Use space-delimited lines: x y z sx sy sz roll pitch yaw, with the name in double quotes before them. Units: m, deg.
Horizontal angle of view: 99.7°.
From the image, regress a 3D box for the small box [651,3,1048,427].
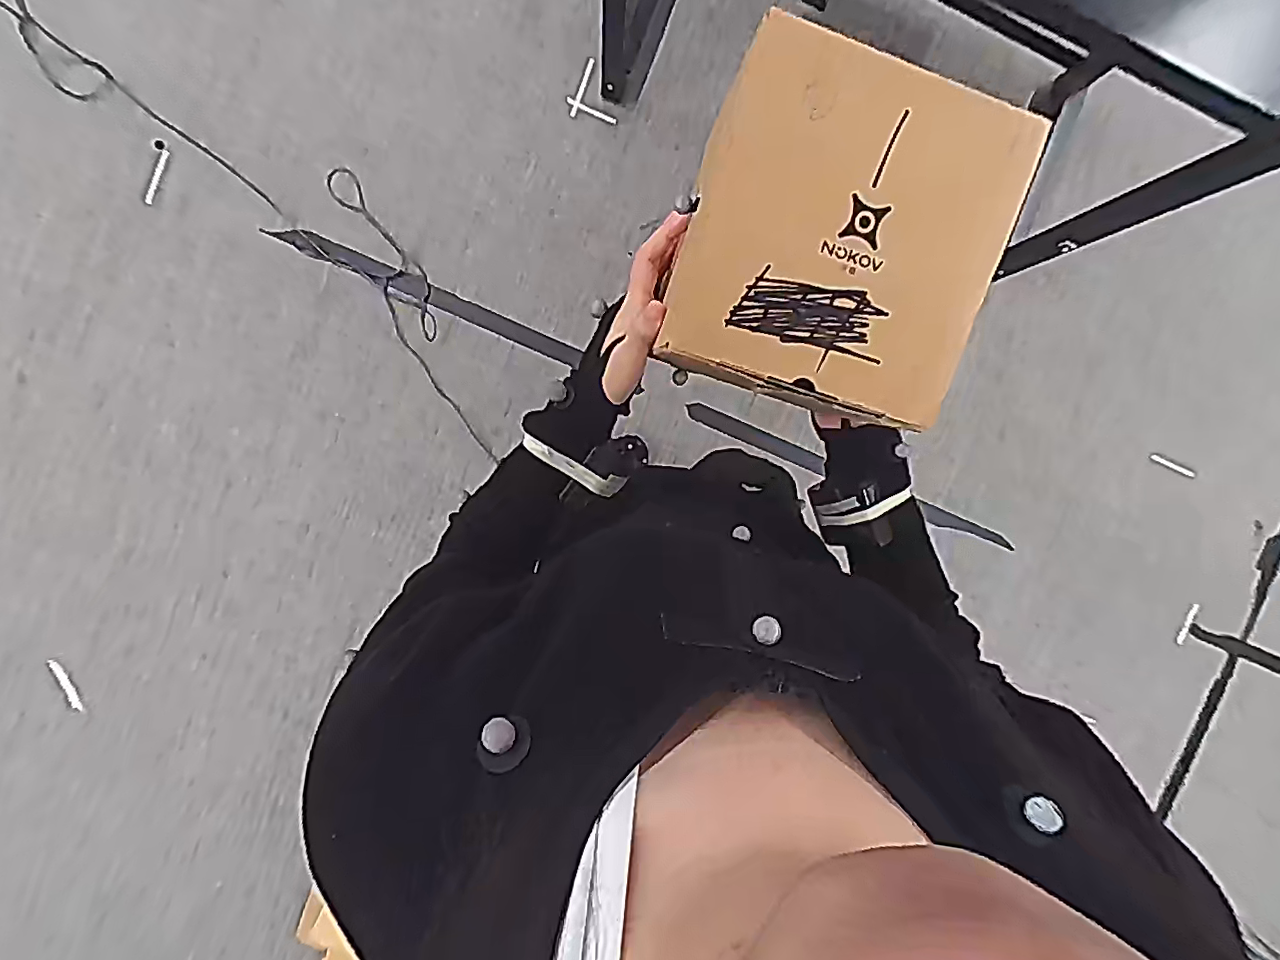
"small box" 0.110 -0.149 0.370 0.168 0.176 0.179 16 100 -8
